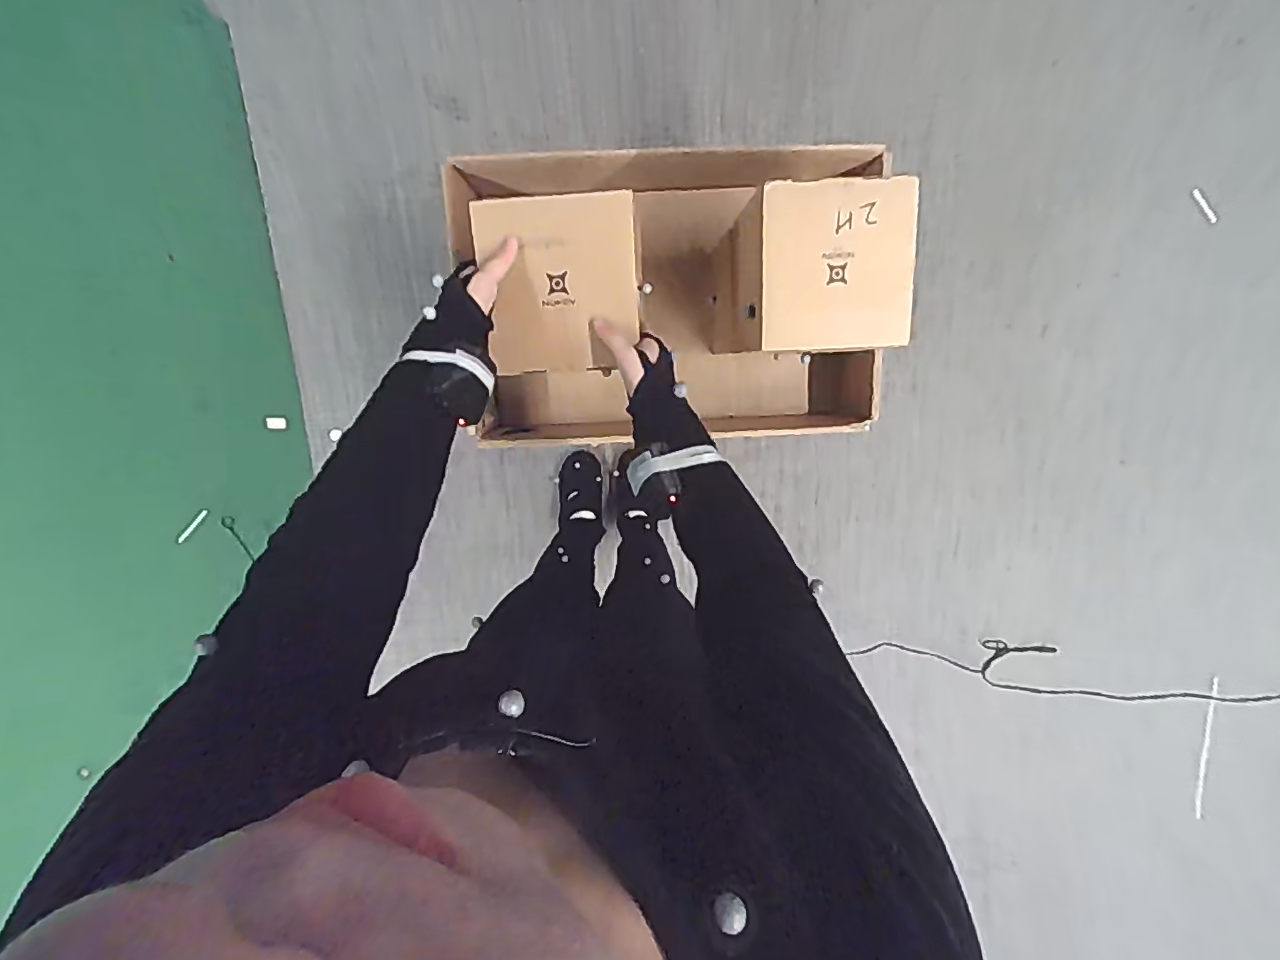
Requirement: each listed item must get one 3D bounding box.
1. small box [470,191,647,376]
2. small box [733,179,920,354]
[{"bbox_3d":[-0.080,-0.224,0.634,0.168,0.176,0.179,-2,108,4],"label":"small box"},{"bbox_3d":[0.210,-0.243,0.656,0.168,0.176,0.179,-2,101,-1],"label":"small box"}]
